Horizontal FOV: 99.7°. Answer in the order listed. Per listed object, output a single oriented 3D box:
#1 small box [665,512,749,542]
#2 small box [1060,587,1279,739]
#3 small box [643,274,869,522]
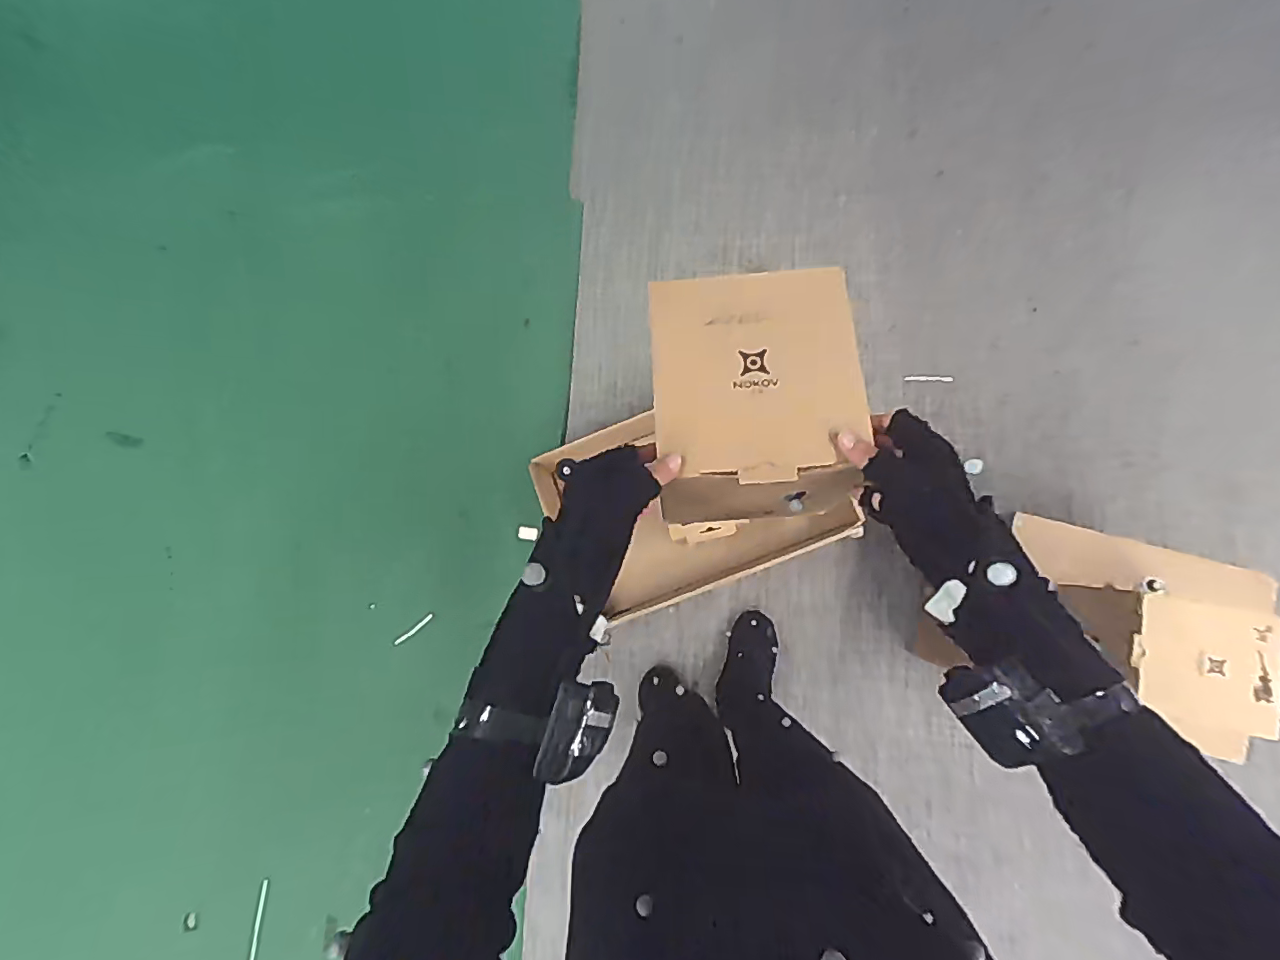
[{"bbox_3d":[0.138,0.037,1.188,0.168,0.176,0.179,-14,79,6],"label":"small box"},{"bbox_3d":[0.774,0.258,0.808,0.179,0.176,0.168,9,84,9],"label":"small box"},{"bbox_3d":[0.094,-0.061,0.511,0.168,0.176,0.179,-5,72,3],"label":"small box"}]
